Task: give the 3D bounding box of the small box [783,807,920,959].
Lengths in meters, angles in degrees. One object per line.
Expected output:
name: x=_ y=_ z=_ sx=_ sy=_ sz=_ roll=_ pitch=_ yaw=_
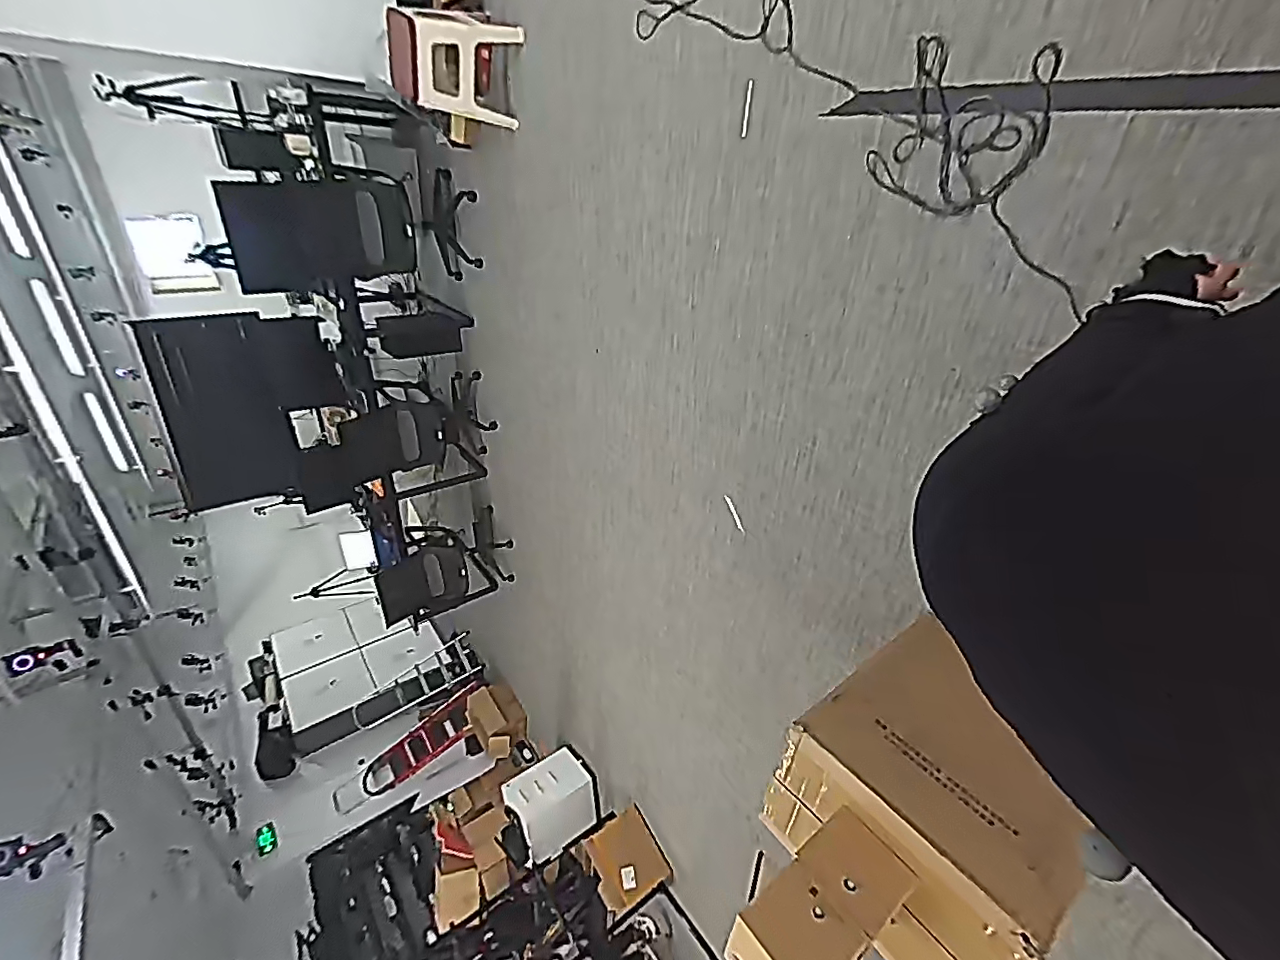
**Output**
small box: x=0.424 y=0.812 z=1.087 sx=0.179 sy=0.176 sz=0.168 roll=37 pitch=133 yaw=42
